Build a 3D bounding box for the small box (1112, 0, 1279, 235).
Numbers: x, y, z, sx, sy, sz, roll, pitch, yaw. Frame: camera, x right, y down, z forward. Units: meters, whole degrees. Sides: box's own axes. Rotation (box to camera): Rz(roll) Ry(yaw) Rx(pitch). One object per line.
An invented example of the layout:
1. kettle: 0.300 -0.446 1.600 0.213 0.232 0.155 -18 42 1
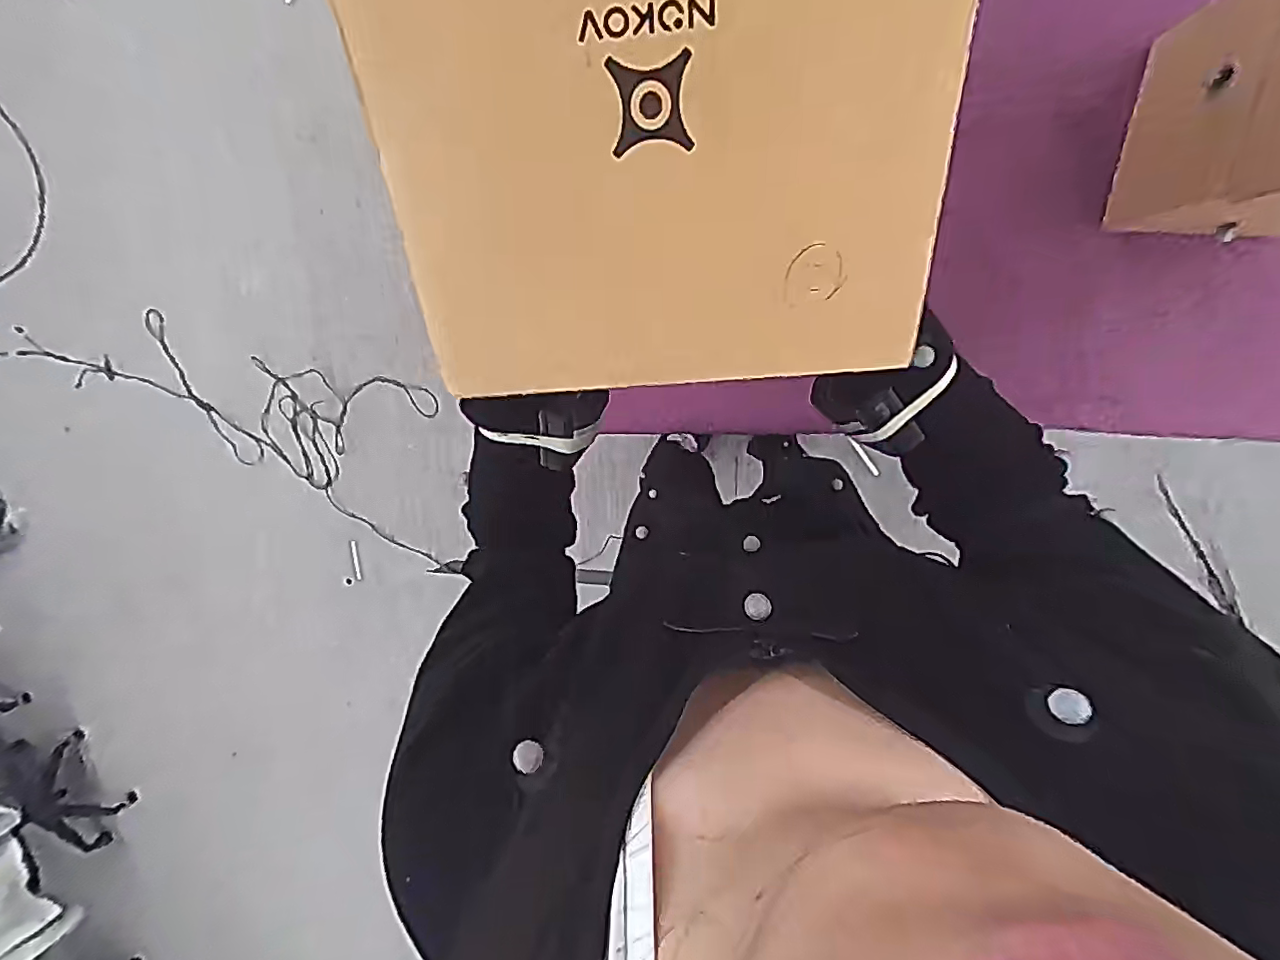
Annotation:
1. small box: 0.566 -0.323 0.467 0.168 0.176 0.179 7 108 11
